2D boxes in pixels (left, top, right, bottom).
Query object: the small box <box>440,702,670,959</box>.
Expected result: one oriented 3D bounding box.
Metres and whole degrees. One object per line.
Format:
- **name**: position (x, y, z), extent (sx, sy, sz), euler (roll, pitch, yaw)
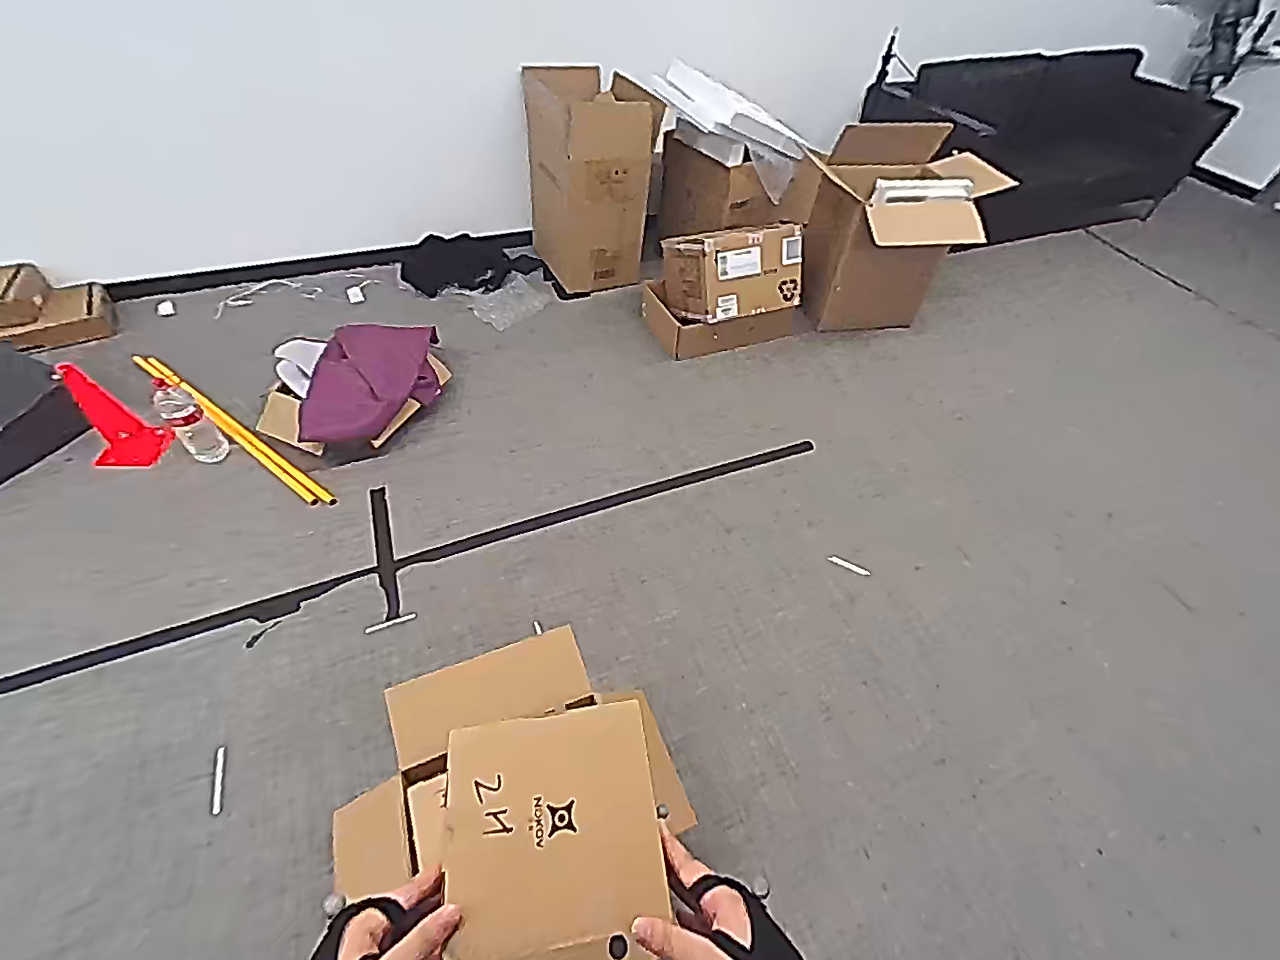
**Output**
- **small box**: position (-0.077, 0.327, 0.517), extent (0.179, 0.176, 0.168), euler (-8, 55, -6)
